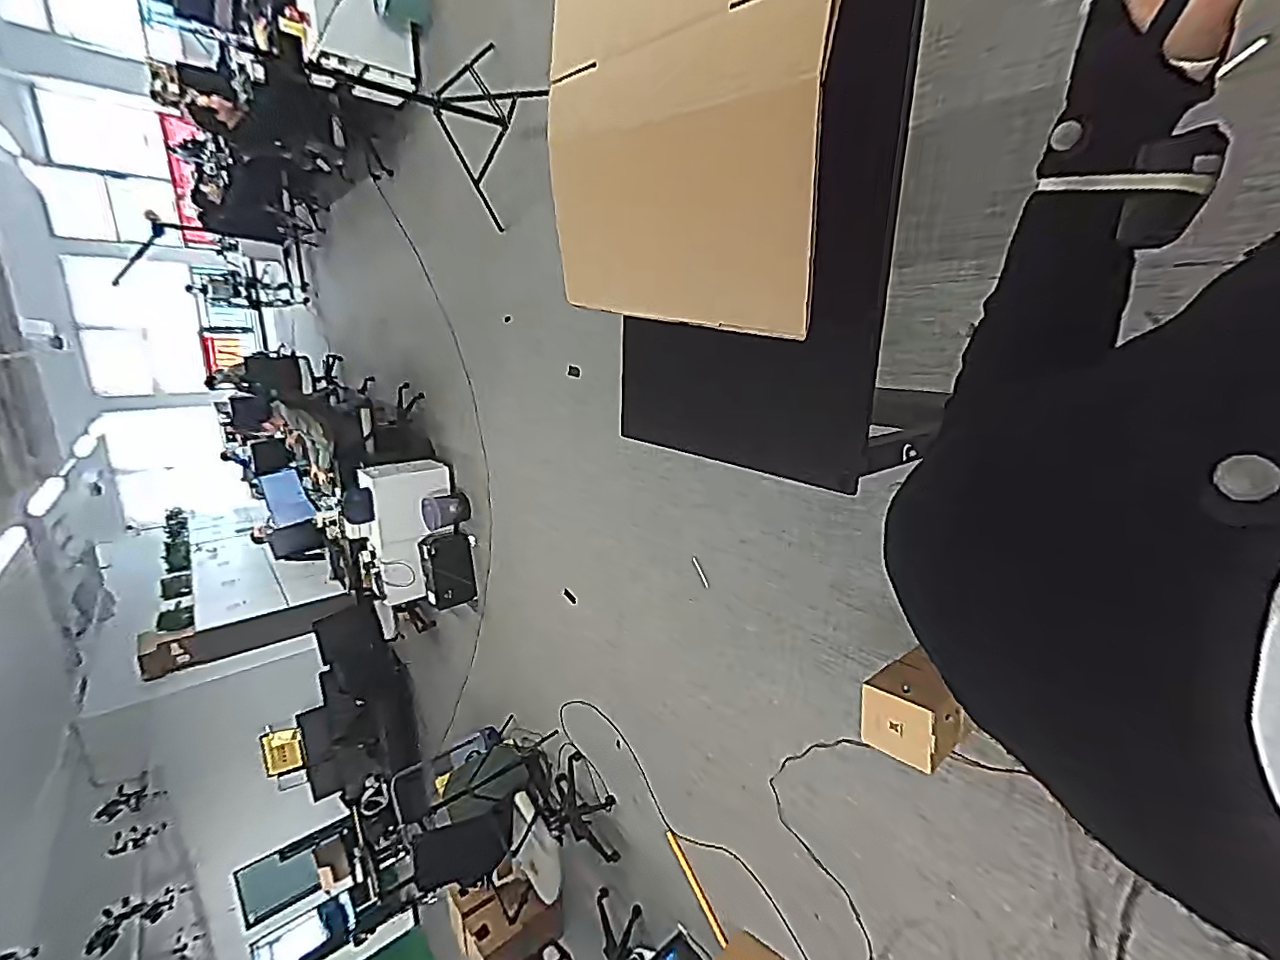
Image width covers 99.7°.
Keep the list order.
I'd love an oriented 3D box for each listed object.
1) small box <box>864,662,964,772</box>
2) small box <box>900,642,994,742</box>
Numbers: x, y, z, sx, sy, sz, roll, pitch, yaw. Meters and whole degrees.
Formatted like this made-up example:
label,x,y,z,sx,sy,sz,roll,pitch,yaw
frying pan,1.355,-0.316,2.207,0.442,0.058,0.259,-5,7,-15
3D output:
label,x,y,z,sx,sy,sz,roll,pitch,yaw
small box,0.693,0.585,1.366,0.179,0.176,0.168,10,106,51
small box,0.822,0.560,1.461,0.179,0.176,0.168,13,109,48
